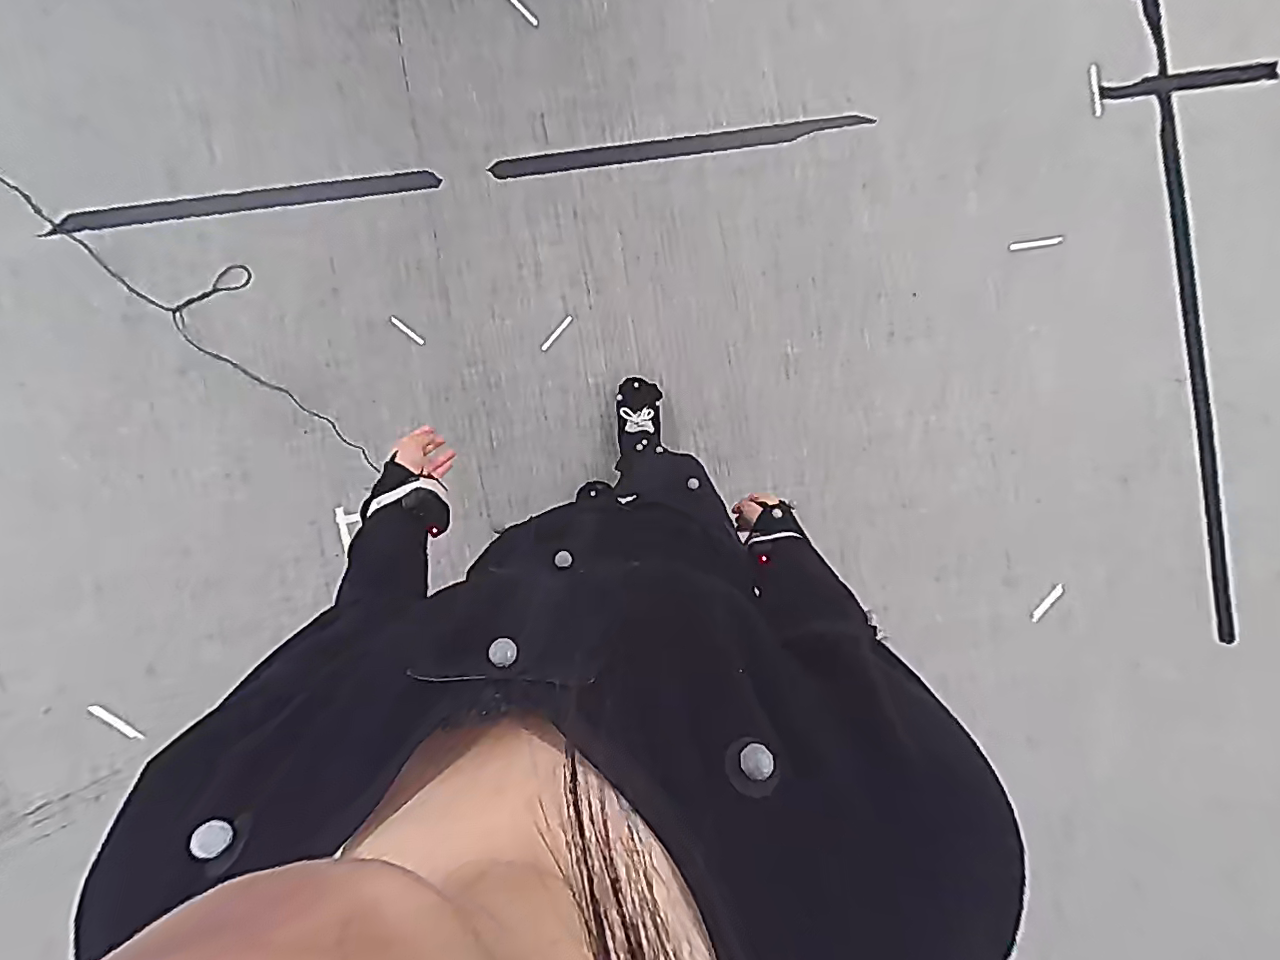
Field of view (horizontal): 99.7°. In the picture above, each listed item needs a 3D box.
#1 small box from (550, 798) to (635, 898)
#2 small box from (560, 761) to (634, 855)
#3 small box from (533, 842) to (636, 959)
[{"bbox_3d":[-0.109,0.888,1.282,0.168,0.176,0.179,-12,94,-1],"label":"small box"},{"bbox_3d":[-0.113,0.881,1.444,0.168,0.176,0.179,-11,93,-2],"label":"small box"},{"bbox_3d":[-0.107,0.896,1.120,0.179,0.176,0.168,-12,92,-1],"label":"small box"}]
